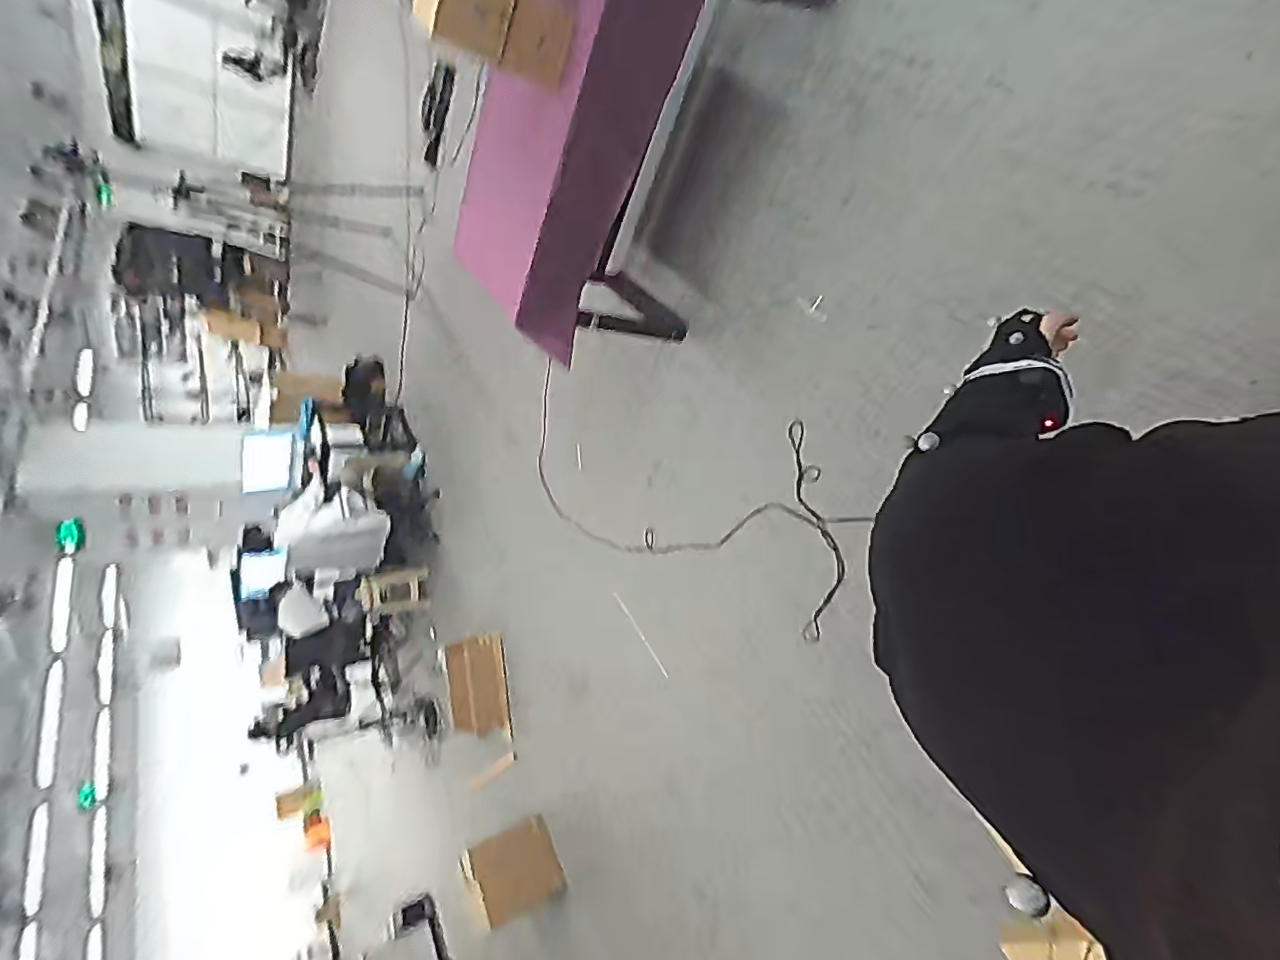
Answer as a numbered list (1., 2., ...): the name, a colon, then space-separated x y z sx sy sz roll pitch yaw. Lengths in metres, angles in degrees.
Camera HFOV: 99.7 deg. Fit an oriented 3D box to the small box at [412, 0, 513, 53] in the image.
1. small box: -0.412 -1.146 1.267 0.179 0.176 0.168 56 131 30
